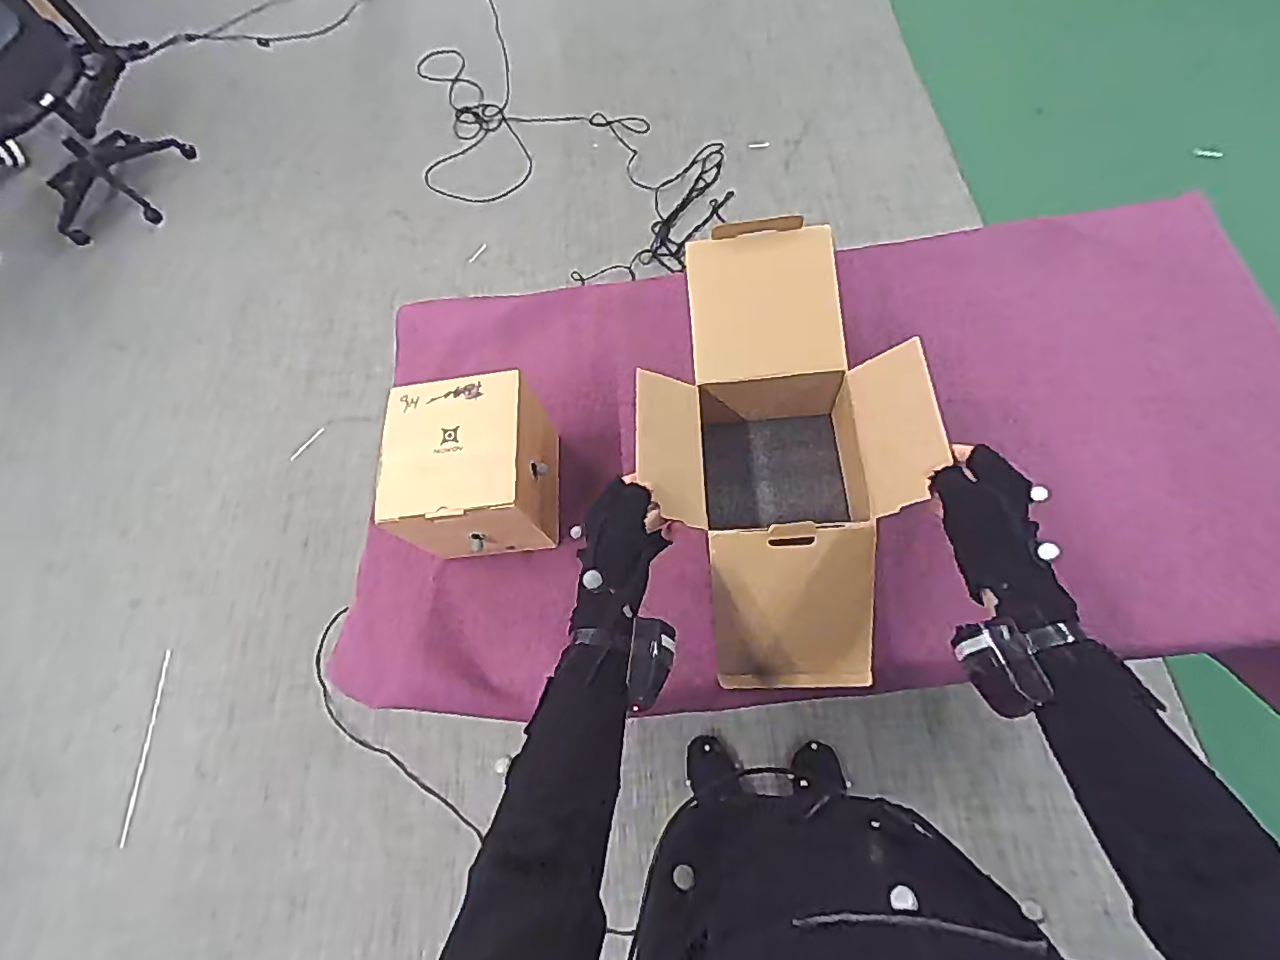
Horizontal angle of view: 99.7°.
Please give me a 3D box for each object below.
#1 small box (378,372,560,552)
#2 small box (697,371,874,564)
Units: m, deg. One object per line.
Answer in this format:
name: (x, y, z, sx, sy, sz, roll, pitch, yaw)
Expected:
small box: (-0.203, -0.011, 0.693, 0.168, 0.176, 0.179, -7, 67, 6)
small box: (0.157, -0.002, 0.631, 0.168, 0.176, 0.179, -4, 67, 7)
